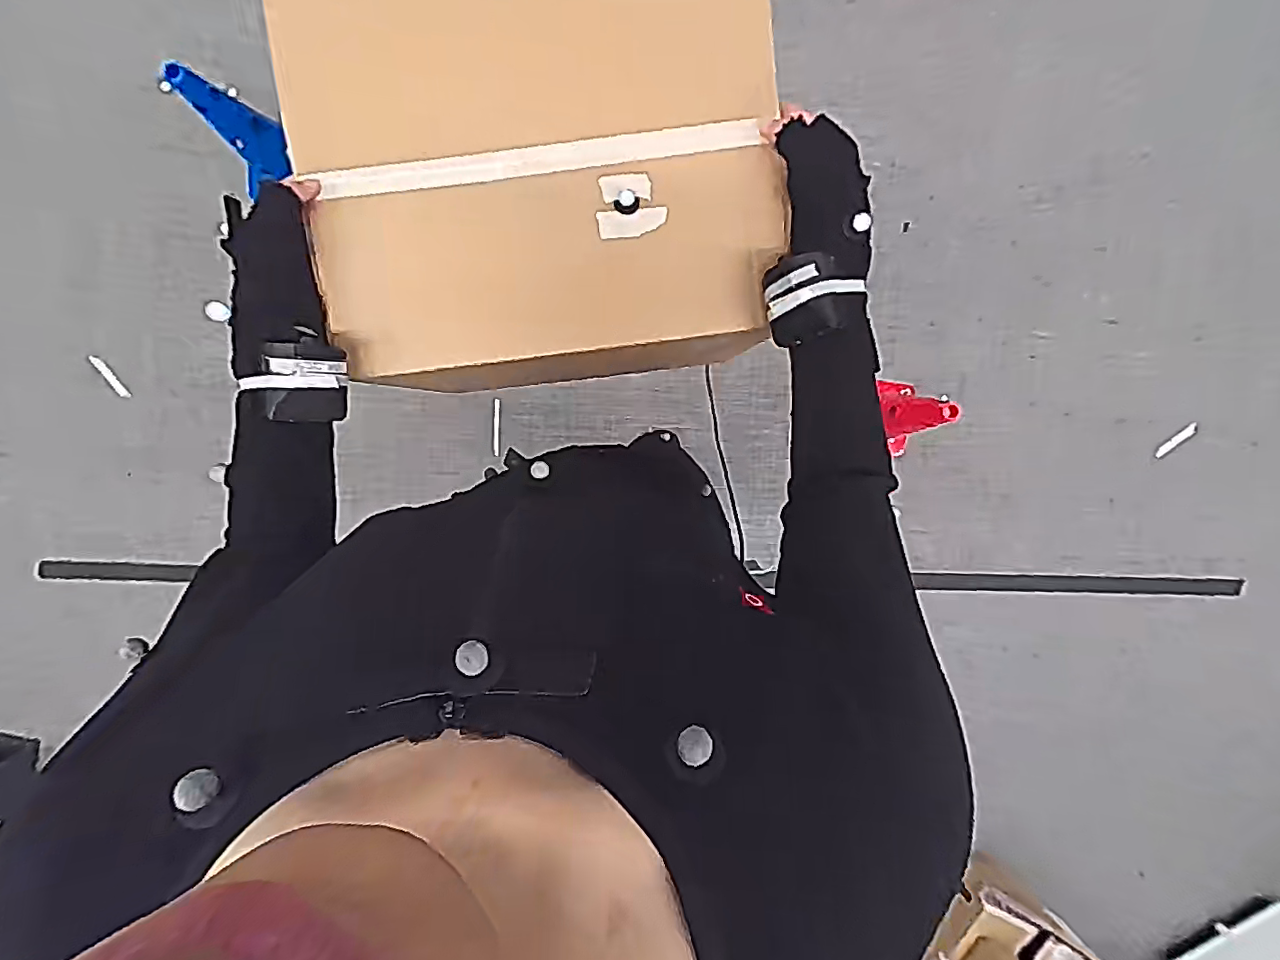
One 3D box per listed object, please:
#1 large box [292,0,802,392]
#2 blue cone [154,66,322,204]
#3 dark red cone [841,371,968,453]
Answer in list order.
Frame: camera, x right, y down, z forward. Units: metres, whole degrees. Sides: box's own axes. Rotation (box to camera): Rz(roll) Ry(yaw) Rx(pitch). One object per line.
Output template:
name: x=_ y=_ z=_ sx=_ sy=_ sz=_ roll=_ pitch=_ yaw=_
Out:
large box: x=-0.077 y=-0.284 z=0.606 sx=0.408 sy=0.320 sz=0.320 roll=-7 pitch=97 yaw=-2
blue cone: x=-0.904 y=-0.792 z=1.218 sx=0.192 sy=0.380 sz=0.193 roll=5 pitch=95 yaw=-1
dark red cone: x=0.643 y=-0.164 z=1.278 sx=0.201 sy=0.394 sz=0.202 roll=8 pitch=95 yaw=-1
